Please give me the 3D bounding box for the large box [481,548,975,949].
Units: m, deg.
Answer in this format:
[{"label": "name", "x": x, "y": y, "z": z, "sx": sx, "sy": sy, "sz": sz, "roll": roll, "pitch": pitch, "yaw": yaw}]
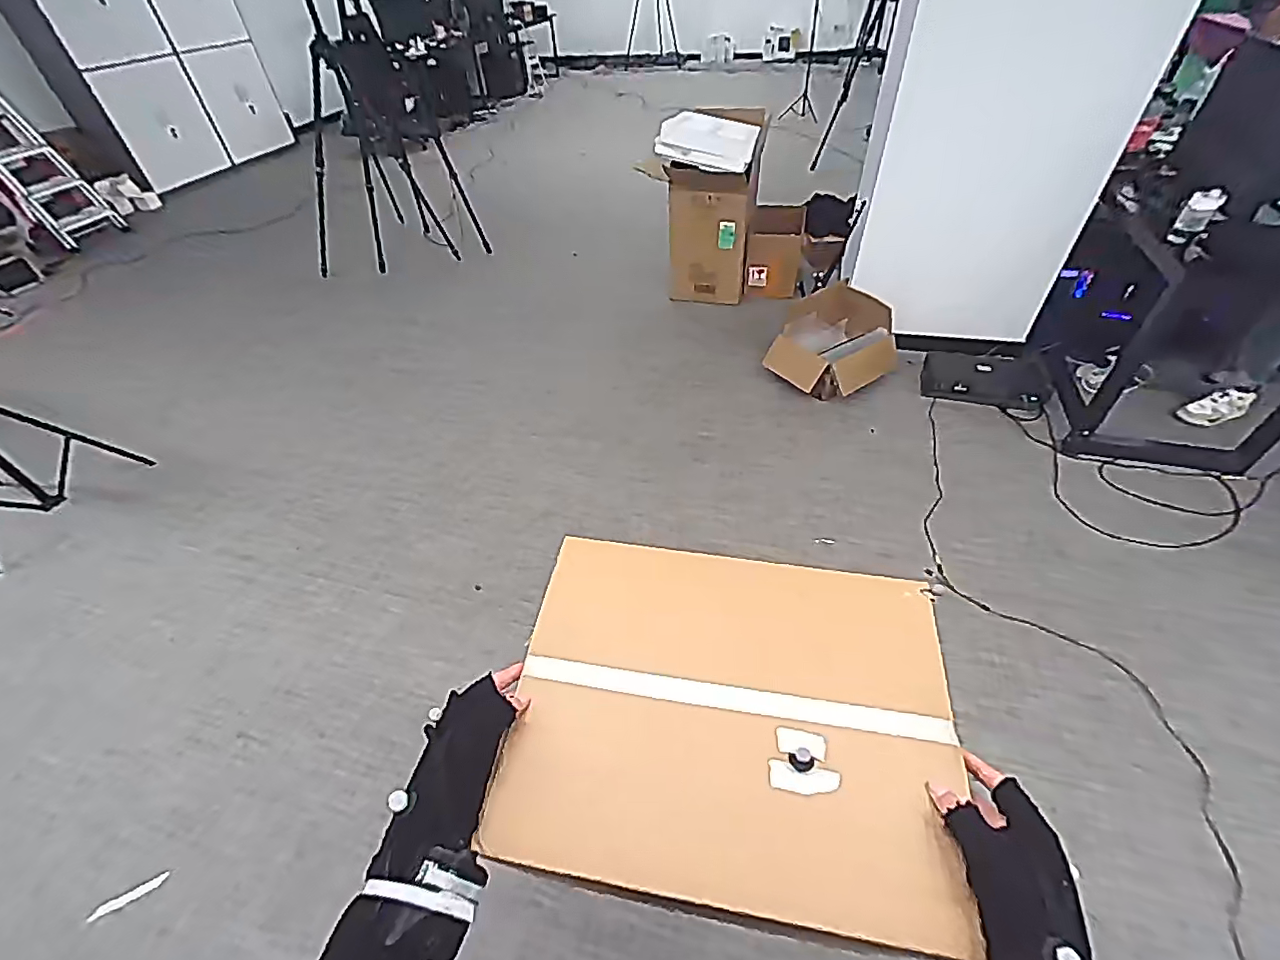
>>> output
[{"label": "large box", "x": 0.086, "y": 0.312, "z": 0.637, "sx": 0.408, "sy": 0.320, "sz": 0.320, "roll": 7, "pitch": 51, "yaw": 8}]
